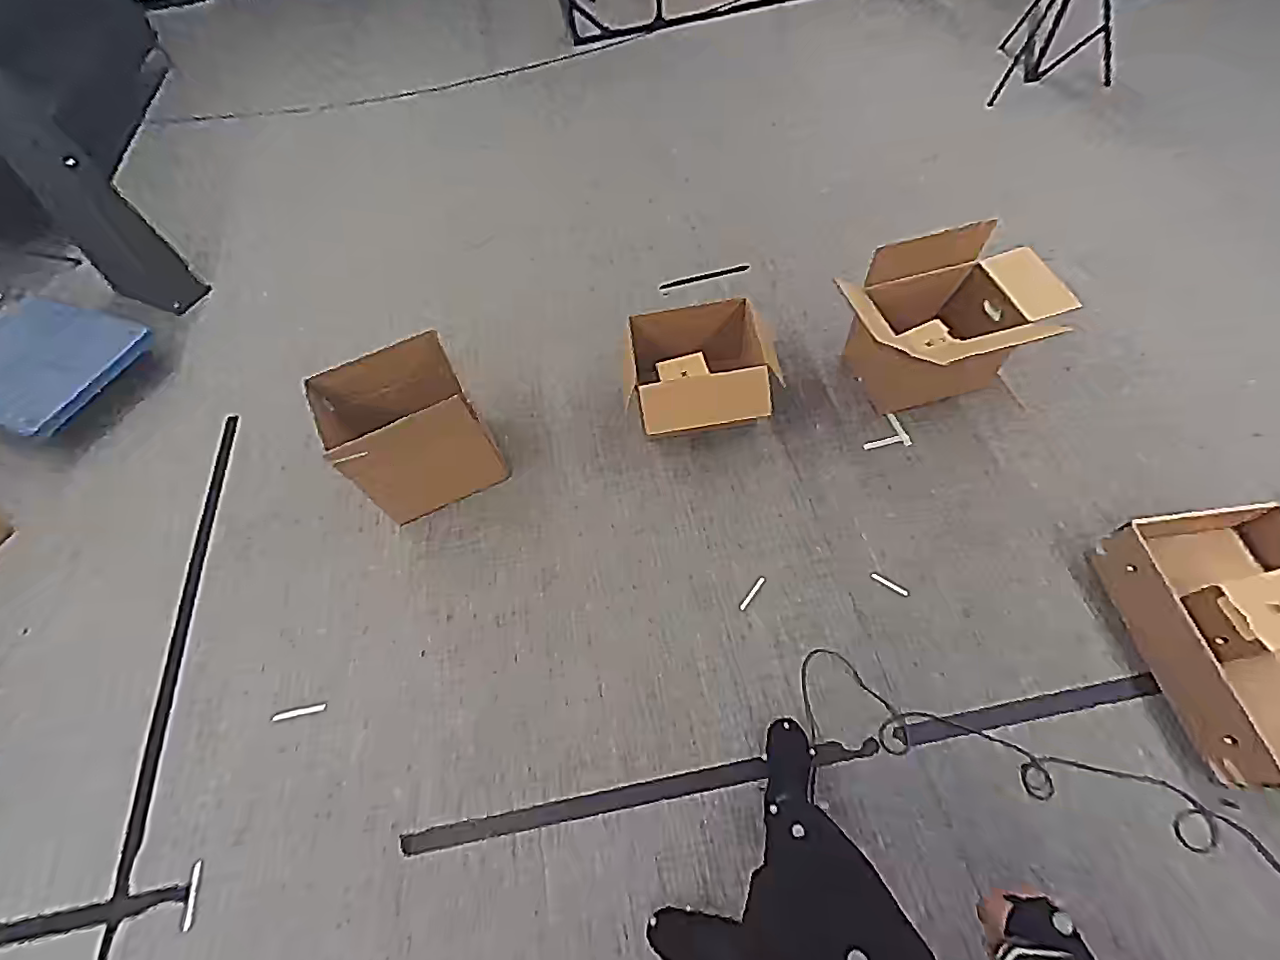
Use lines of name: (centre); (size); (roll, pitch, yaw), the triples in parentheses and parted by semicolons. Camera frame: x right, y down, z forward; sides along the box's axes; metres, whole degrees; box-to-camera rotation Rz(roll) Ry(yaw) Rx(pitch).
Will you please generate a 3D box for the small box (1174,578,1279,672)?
small box: (1.475, 0.358, 1.317); (0.179, 0.176, 0.168); (-12, 60, -1)
